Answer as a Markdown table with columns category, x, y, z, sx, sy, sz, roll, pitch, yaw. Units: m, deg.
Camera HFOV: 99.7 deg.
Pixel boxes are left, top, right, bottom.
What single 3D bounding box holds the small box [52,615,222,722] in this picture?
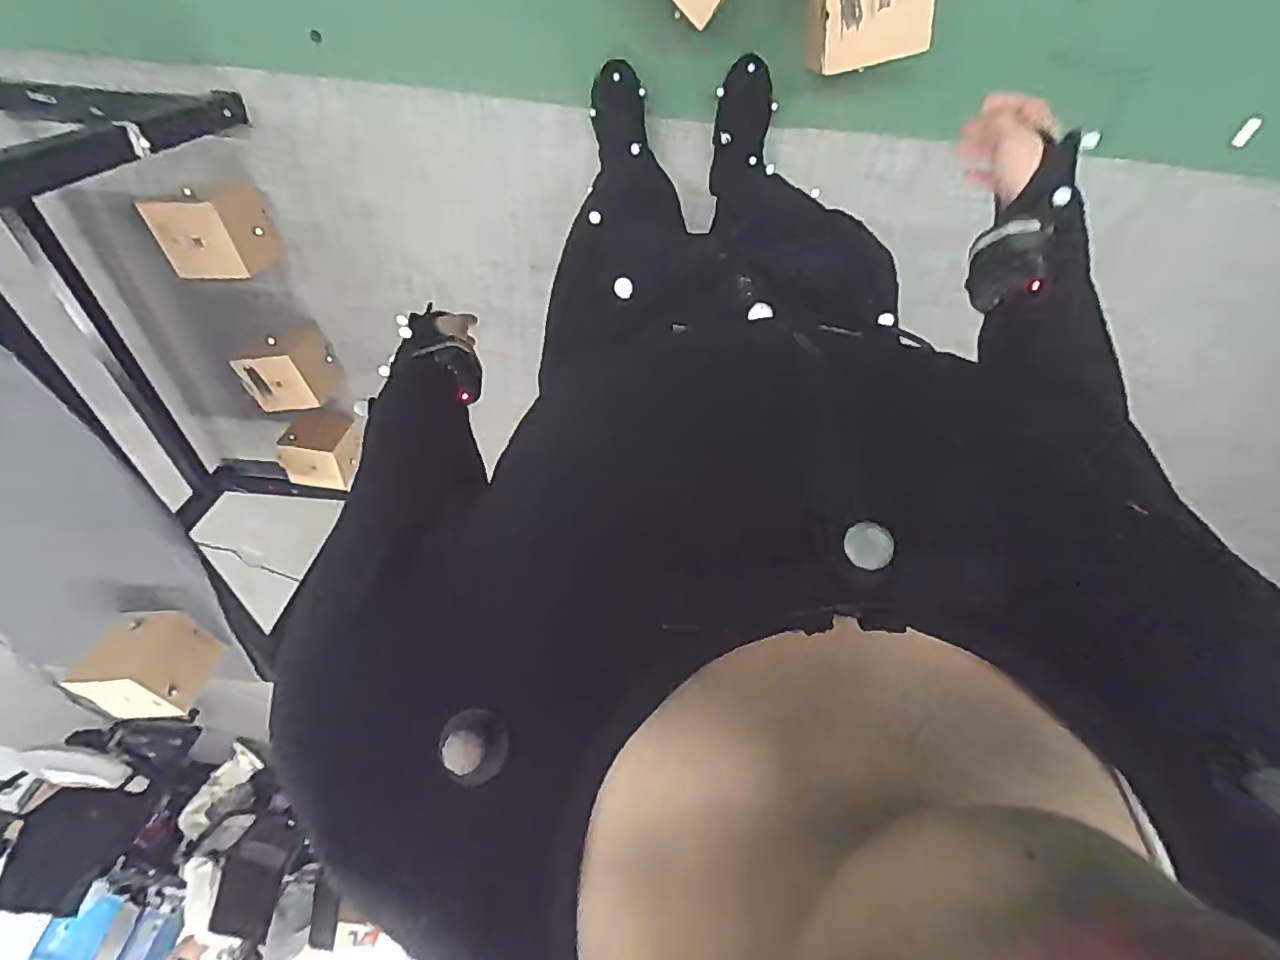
| category | x | y | z | sx | sy | sz | roll | pitch | yaw |
| --- | --- | --- | --- | --- | --- | --- | --- | --- | --- |
| small box | -1.092 | 0.413 | 1.193 | 0.179 | 0.176 | 0.168 | -4 | 133 | 8 |

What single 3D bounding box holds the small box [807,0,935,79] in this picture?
| category | x | y | z | sx | sy | sz | roll | pitch | yaw |
| --- | --- | --- | --- | --- | --- | --- | --- | --- | --- |
| small box | 0.390 | -0.818 | 0.933 | 0.179 | 0.176 | 0.168 | -7 | 133 | 9 |

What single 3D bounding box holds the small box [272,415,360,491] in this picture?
| category | x | y | z | sx | sy | sz | roll | pitch | yaw |
| --- | --- | --- | --- | --- | --- | --- | --- | --- | --- |
| small box | -1.018 | -0.088 | 1.722 | 0.179 | 0.176 | 0.168 | 8 | 134 | -3 |

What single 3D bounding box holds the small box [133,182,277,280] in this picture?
| category | x | y | z | sx | sy | sz | roll | pitch | yaw |
| --- | --- | --- | --- | --- | --- | --- | --- | --- | --- |
| small box | -0.986 | -0.578 | 1.252 | 0.179 | 0.176 | 0.168 | 2 | 133 | 2 |
